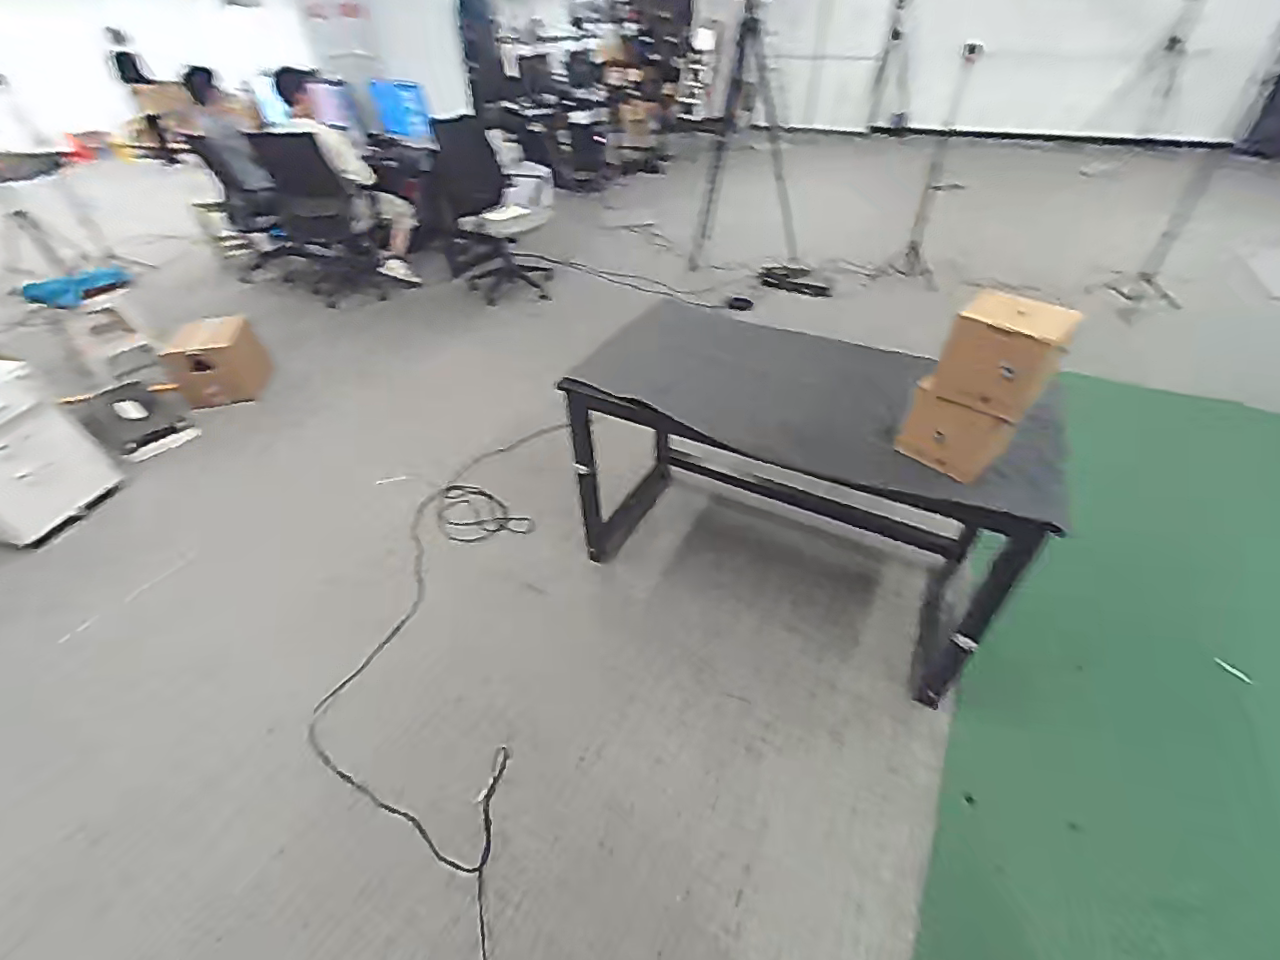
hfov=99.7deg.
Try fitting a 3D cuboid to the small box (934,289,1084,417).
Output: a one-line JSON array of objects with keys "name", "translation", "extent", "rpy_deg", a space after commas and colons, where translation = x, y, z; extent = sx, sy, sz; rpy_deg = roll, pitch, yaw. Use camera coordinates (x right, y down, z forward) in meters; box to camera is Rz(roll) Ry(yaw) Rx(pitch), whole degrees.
[{"name": "small box", "translation": [0.694, -0.243, 1.035], "extent": [0.179, 0.176, 0.168], "rpy_deg": [-32, 49, -33]}]

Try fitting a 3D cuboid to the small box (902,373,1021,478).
[{"name": "small box", "translation": [0.688, -0.129, 1.153], "extent": [0.179, 0.176, 0.168], "rpy_deg": [-27, 46, -29]}]
